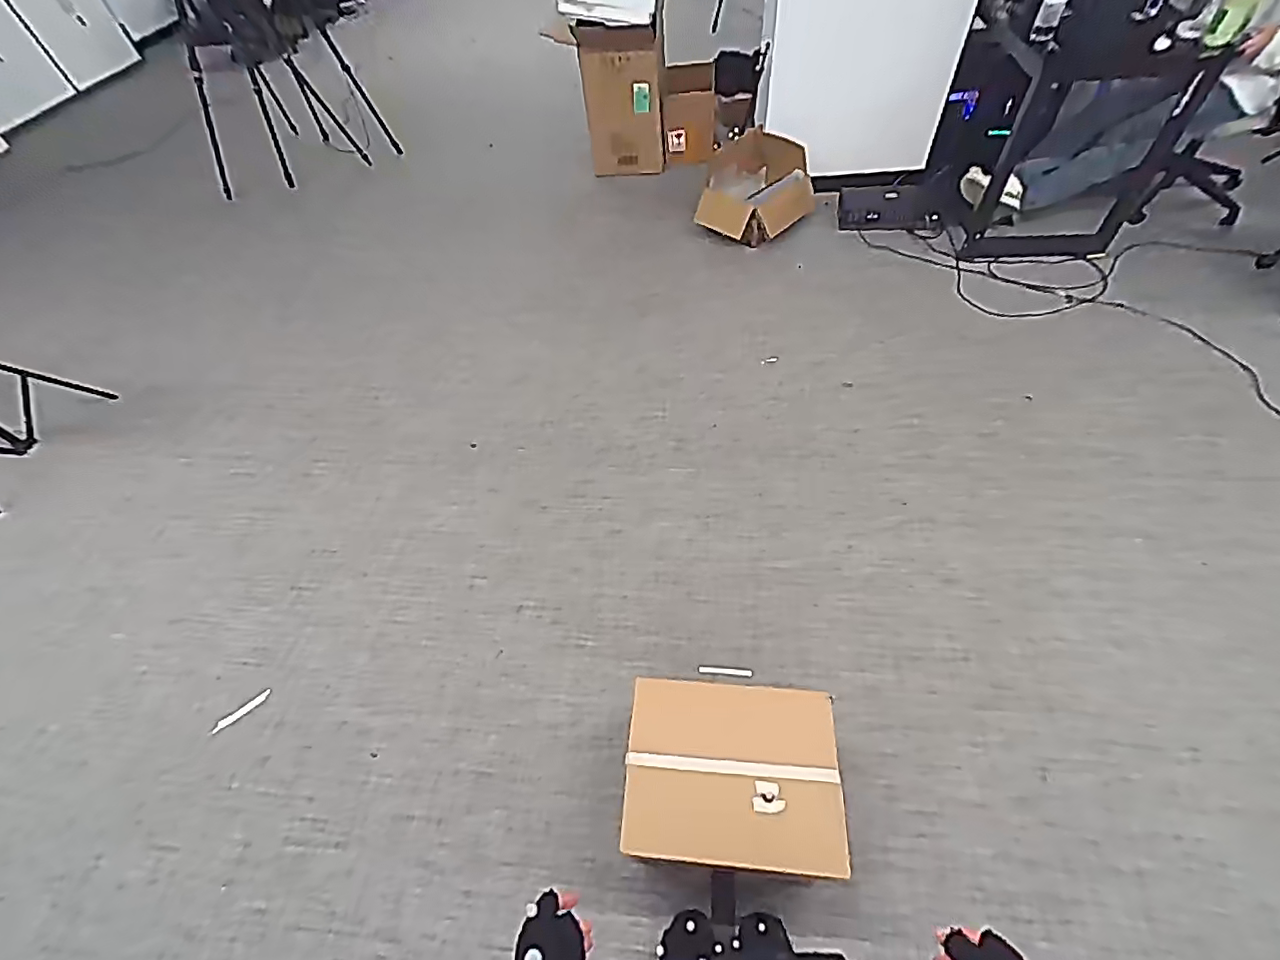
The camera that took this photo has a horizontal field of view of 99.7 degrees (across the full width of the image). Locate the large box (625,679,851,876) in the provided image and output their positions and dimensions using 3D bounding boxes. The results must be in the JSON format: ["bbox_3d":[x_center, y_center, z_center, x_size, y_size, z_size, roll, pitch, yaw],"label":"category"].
[{"bbox_3d":[0.188,0.640,1.158,0.408,0.320,0.320,2,54,6],"label":"large box"}]
